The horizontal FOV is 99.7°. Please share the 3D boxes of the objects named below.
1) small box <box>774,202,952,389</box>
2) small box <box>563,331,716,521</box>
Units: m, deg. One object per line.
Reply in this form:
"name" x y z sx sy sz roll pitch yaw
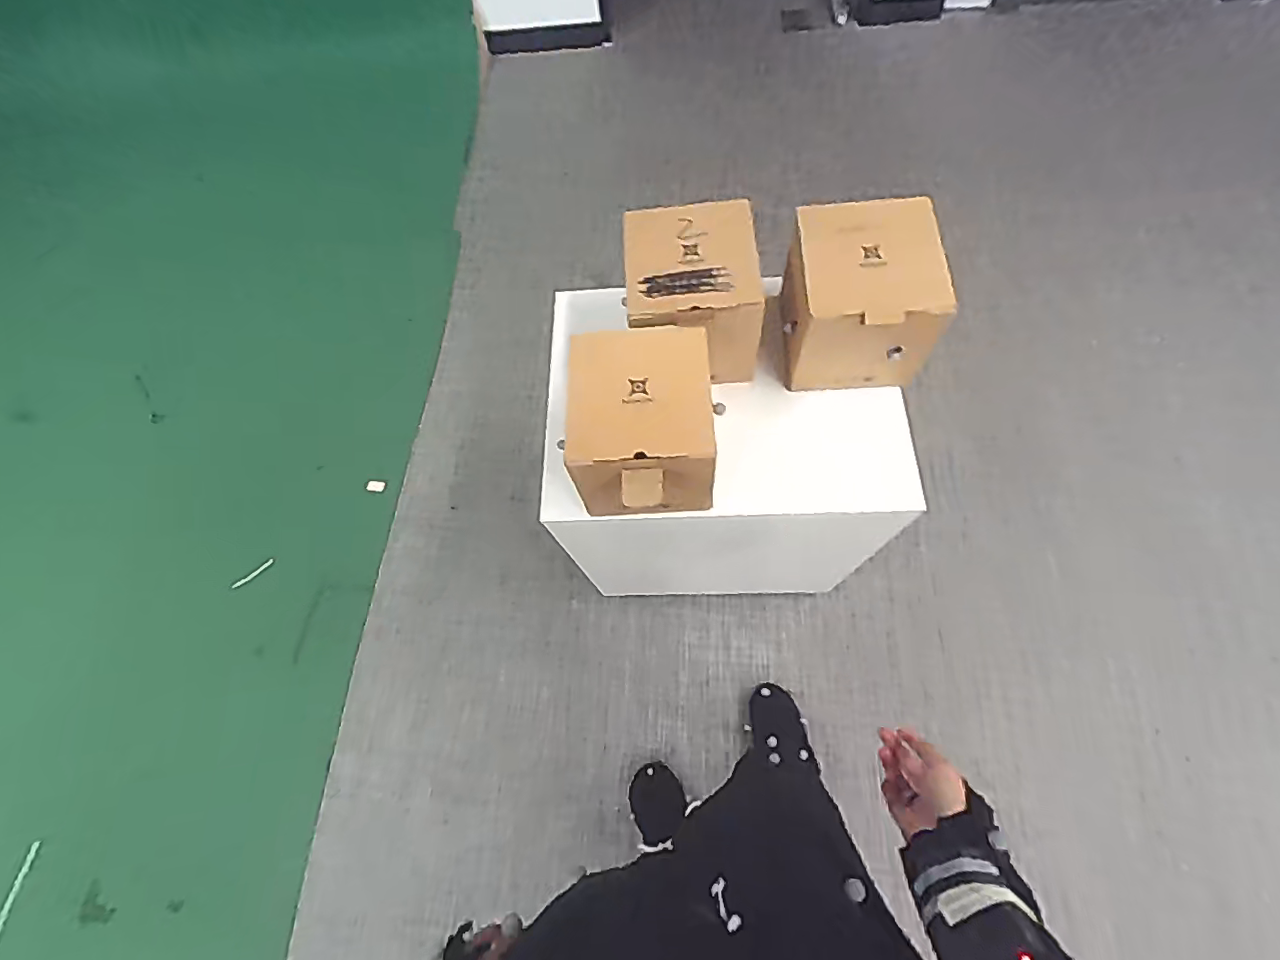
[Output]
"small box" 0.280 -0.232 0.721 0.168 0.176 0.179 -3 67 4
"small box" 0.002 -0.061 0.678 0.168 0.176 0.179 -4 66 3
